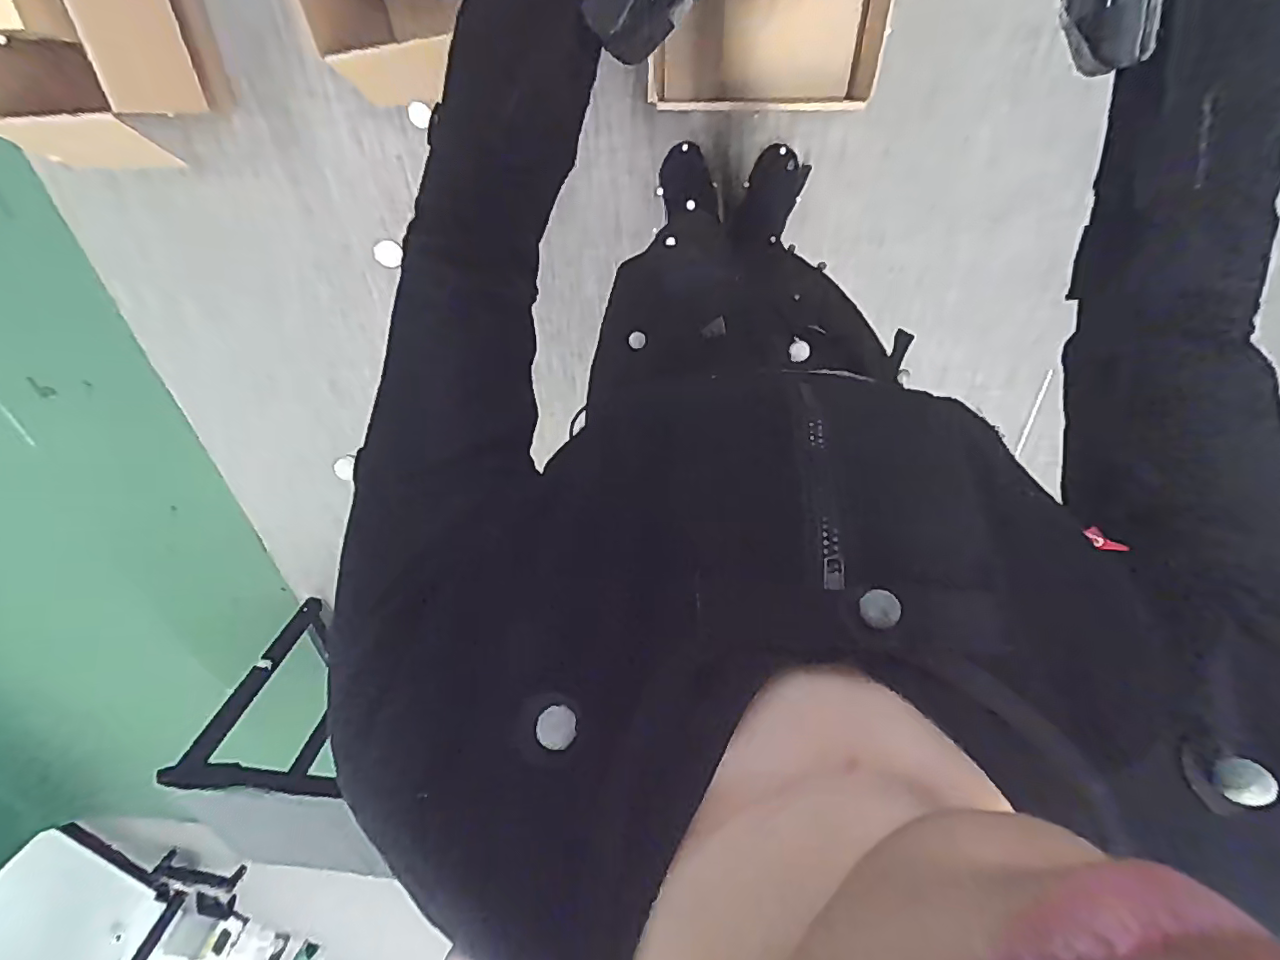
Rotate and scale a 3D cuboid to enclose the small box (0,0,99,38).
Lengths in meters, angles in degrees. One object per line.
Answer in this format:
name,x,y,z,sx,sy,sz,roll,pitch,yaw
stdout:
small box,-1.066,-0.846,0.892,0.179,0.176,0.168,4,125,3
